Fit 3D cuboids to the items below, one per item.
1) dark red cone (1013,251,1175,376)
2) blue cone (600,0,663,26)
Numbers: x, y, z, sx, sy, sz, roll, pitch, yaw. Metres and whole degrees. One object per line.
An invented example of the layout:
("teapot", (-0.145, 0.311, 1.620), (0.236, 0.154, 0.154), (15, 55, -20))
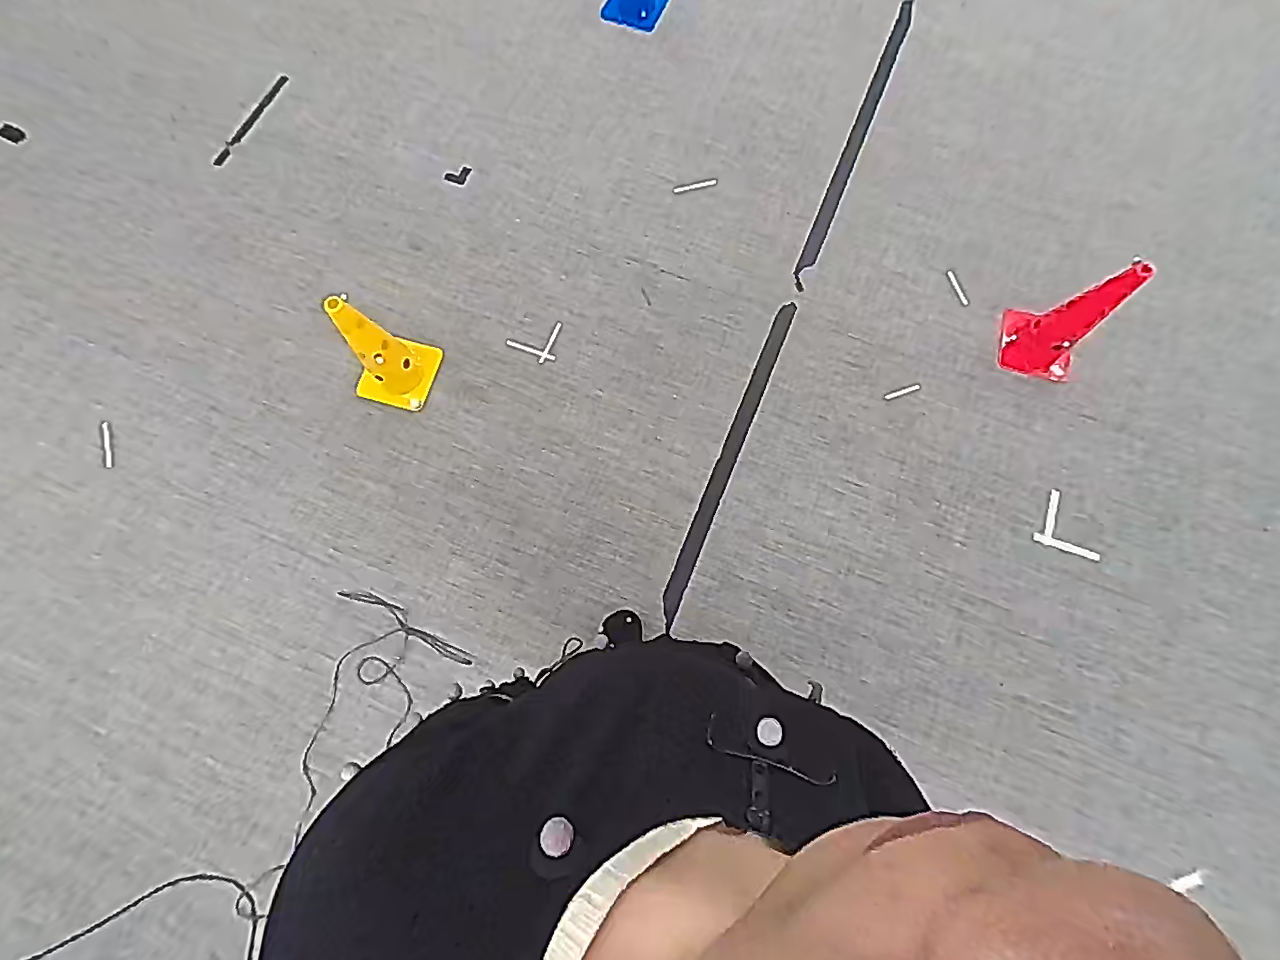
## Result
("dark red cone", (1.150, -0.436, 1.360), (0.201, 0.394, 0.202), (14, 76, 5))
("blue cone", (-0.030, -1.694, 1.712), (0.192, 0.380, 0.193), (22, 77, 7))
